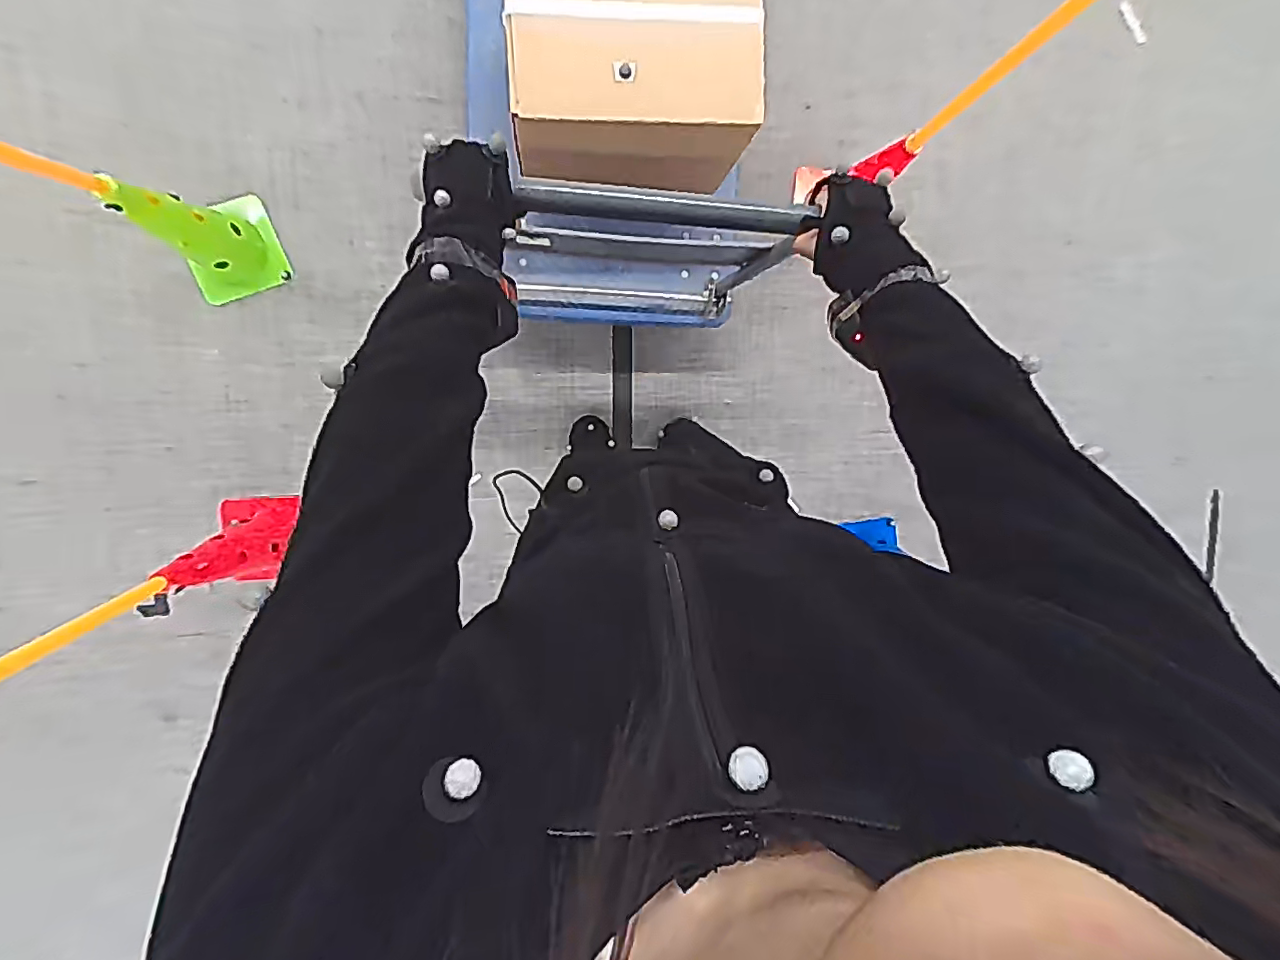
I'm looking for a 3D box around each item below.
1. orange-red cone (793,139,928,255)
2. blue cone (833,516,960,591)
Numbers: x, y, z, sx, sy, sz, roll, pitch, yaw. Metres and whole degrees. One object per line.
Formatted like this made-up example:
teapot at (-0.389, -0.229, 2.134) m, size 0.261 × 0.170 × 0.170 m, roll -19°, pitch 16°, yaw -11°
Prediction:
orange-red cone at (0.526, -0.674, 1.232) m, size 0.199 × 0.360 × 0.198 m, roll 5°, pitch 96°, yaw -9°
blue cone at (0.661, 0.218, 1.363) m, size 0.193 × 0.380 × 0.192 m, roll -6°, pitch 96°, yaw -7°
